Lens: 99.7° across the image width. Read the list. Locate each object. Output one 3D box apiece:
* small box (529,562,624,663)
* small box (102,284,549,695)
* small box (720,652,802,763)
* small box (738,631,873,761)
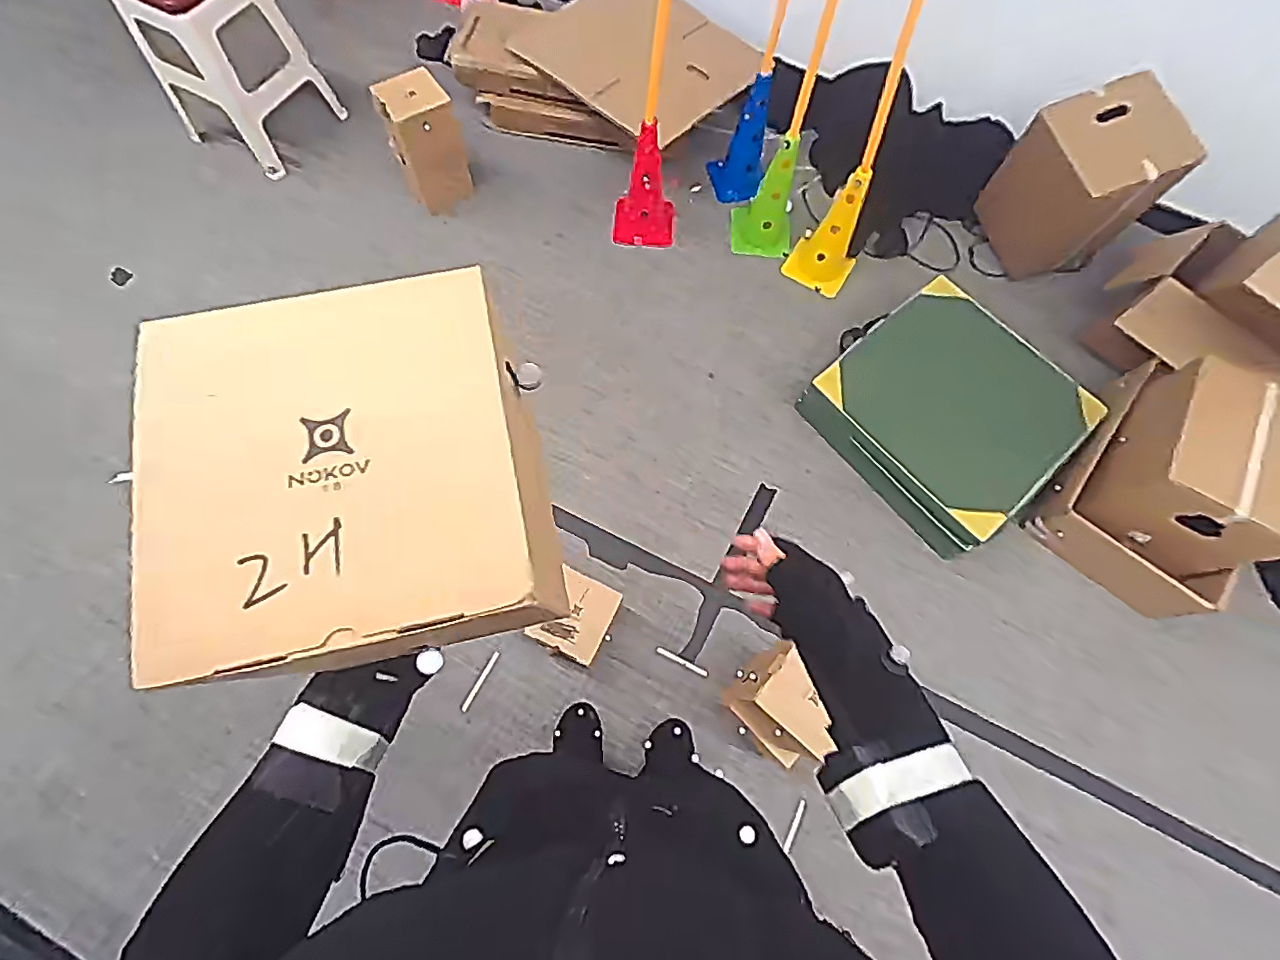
[{"bbox_3d":[-0.145,0.324,1.297,0.168,0.176,0.179,25,70,7],"label":"small box"},{"bbox_3d":[-0.154,0.014,0.324,0.168,0.176,0.179,-9,78,-3],"label":"small box"},{"bbox_3d":[0.308,0.516,1.250,0.179,0.176,0.168,43,73,11],"label":"small box"},{"bbox_3d":[0.326,0.436,1.104,0.179,0.176,0.168,41,74,10],"label":"small box"}]
